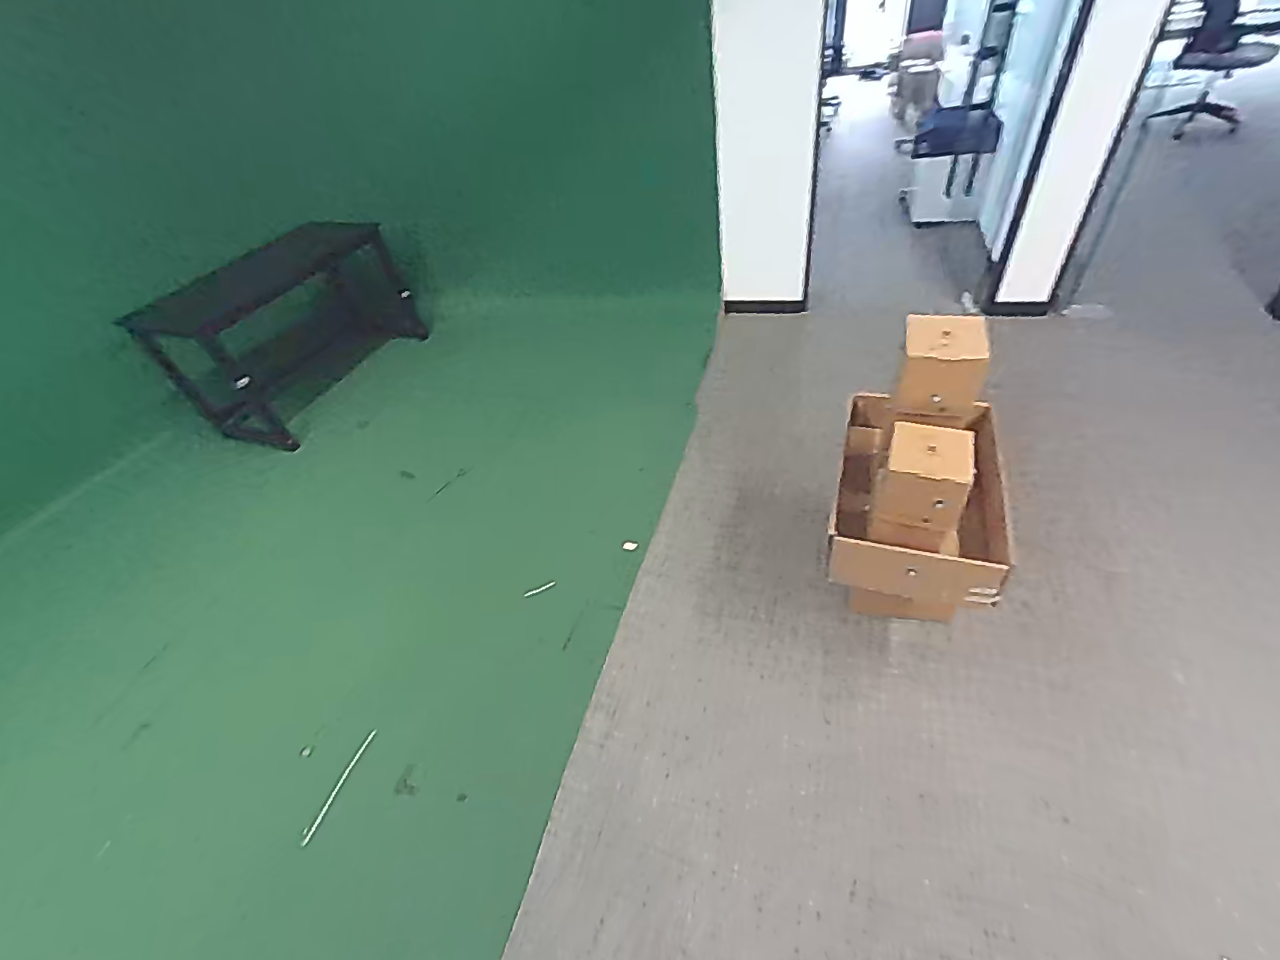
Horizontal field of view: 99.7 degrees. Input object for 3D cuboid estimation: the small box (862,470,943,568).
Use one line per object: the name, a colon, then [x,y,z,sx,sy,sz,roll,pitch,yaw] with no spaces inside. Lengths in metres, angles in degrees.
small box: [0.675,0.102,1.392,0.168,0.176,0.179,10,47,20]

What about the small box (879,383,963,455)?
small box: [0.739,-0.170,1.430,0.168,0.176,0.179,10,50,19]

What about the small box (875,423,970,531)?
small box: [0.659,-0.006,1.271,0.168,0.176,0.179,12,48,21]

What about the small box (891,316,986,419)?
small box: [0.710,-0.273,1.303,0.168,0.176,0.179,8,50,19]
